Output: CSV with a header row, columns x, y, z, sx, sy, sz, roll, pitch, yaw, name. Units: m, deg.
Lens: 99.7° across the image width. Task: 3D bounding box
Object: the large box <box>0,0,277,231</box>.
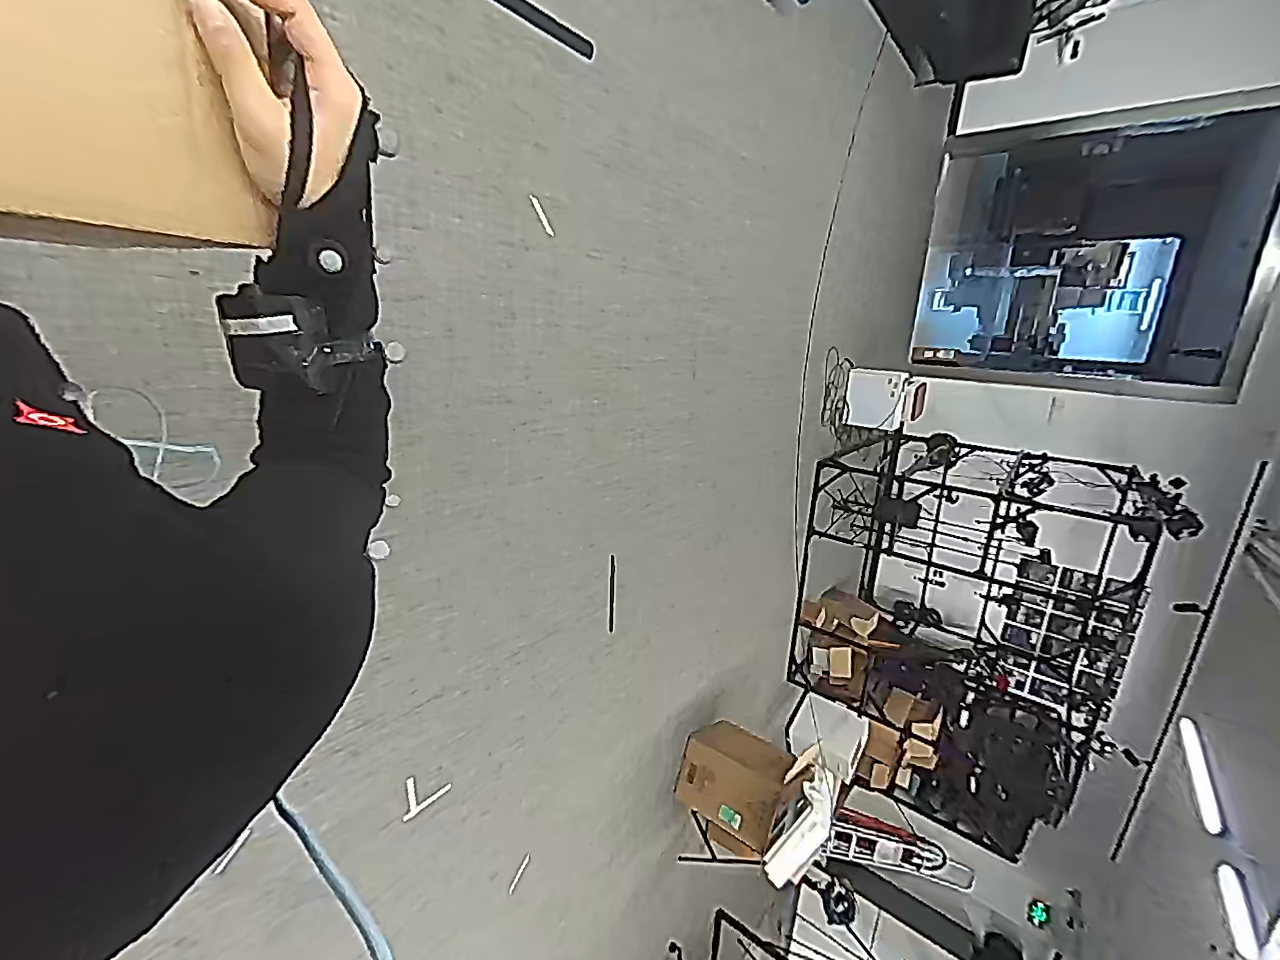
x,y,z,sx,sy,sz,roll,pitch,yaw,name
-0.438,-0.287,0.193,0.408,0.320,0.320,-20,121,-55,large box
